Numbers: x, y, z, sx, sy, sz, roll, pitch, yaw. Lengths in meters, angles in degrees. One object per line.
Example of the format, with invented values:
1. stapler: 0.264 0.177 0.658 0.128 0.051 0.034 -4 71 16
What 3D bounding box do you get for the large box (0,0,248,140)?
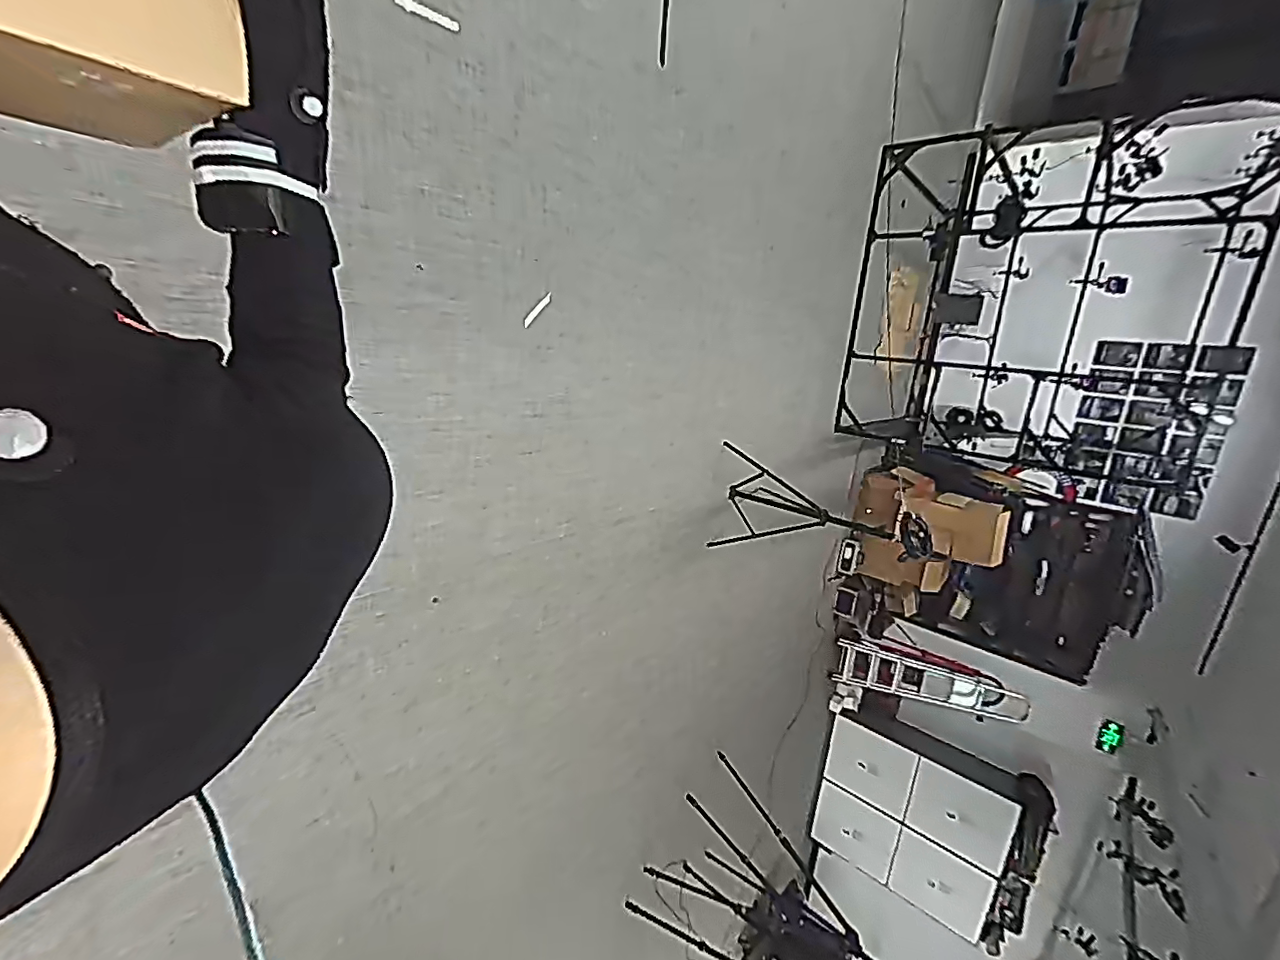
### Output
1. large box: -0.505 -0.425 0.281 0.408 0.320 0.320 -13 116 -49
